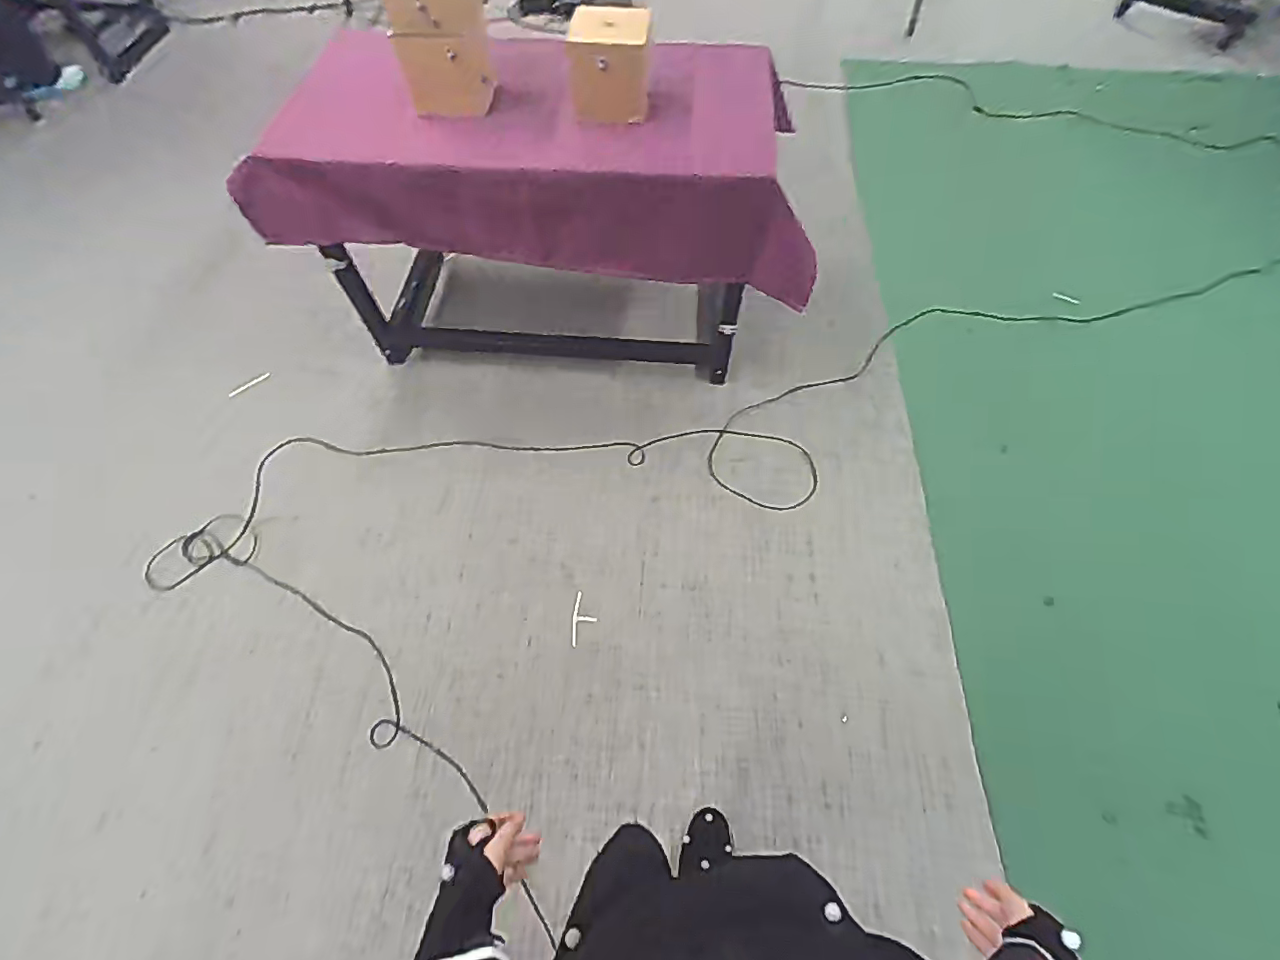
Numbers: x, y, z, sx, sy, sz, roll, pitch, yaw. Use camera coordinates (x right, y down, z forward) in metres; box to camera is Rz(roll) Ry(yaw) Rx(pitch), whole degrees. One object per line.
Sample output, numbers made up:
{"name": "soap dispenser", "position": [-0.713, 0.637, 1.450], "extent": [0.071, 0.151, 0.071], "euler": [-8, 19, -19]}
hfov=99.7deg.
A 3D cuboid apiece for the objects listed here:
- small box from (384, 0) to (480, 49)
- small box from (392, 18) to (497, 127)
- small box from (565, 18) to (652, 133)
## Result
{"name": "small box", "position": [-0.454, -1.066, 1.161], "extent": [0.168, 0.176, 0.179], "euler": [2, 60, 2]}
{"name": "small box", "position": [-0.461, -0.981, 1.303], "extent": [0.179, 0.176, 0.168], "euler": [2, 60, 1]}
{"name": "small box", "position": [-0.068, -0.953, 1.280], "extent": [0.179, 0.176, 0.168], "euler": [6, 61, 3]}
